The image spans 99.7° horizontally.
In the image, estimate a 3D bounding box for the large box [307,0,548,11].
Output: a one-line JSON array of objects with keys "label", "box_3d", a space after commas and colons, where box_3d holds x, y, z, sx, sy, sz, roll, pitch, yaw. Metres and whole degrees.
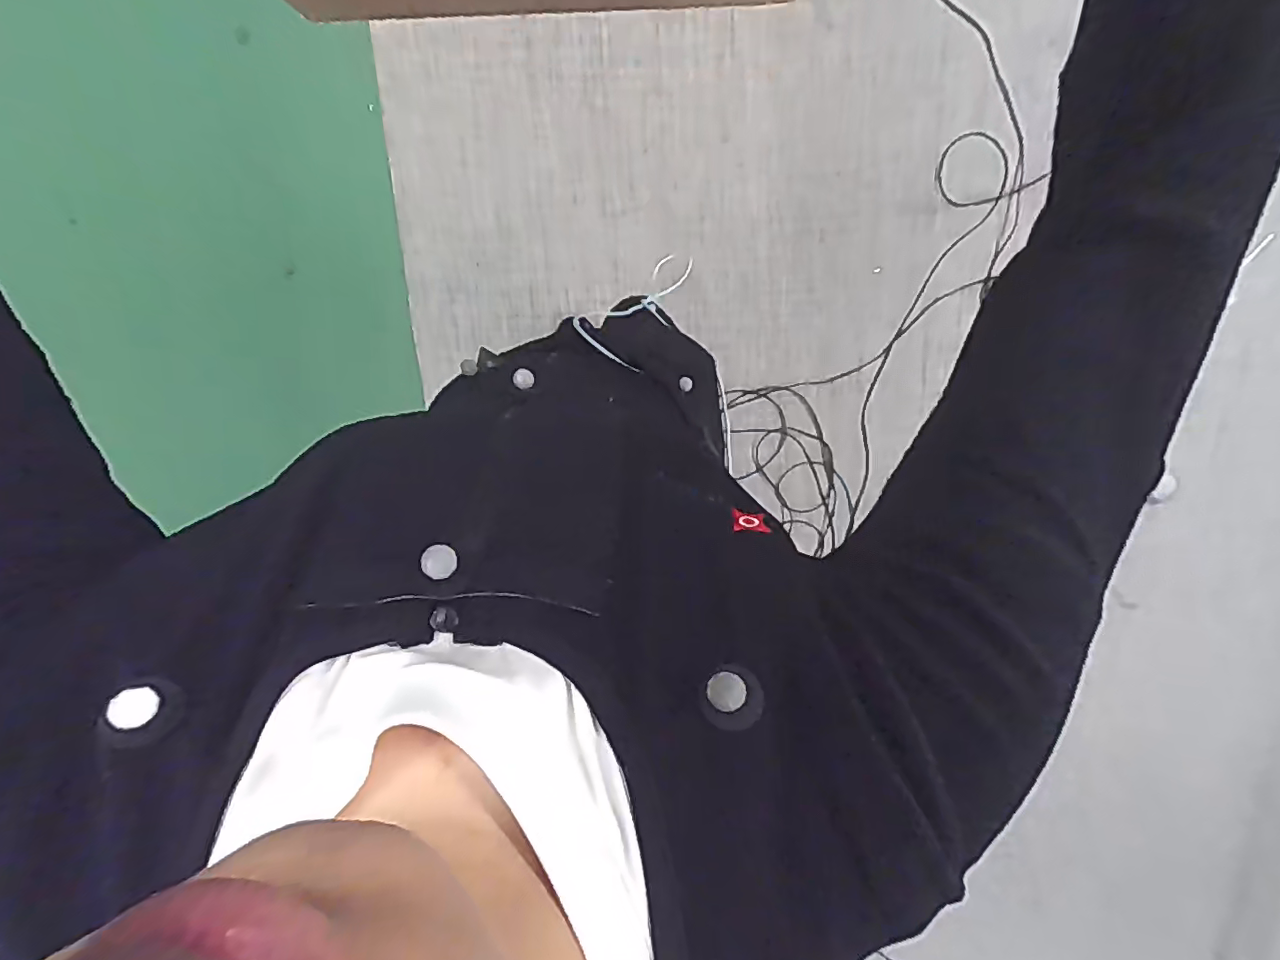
[{"label": "large box", "box_3d": [-0.065, -0.486, 0.256, 0.408, 0.320, 0.320, -5, 112, -4]}]
